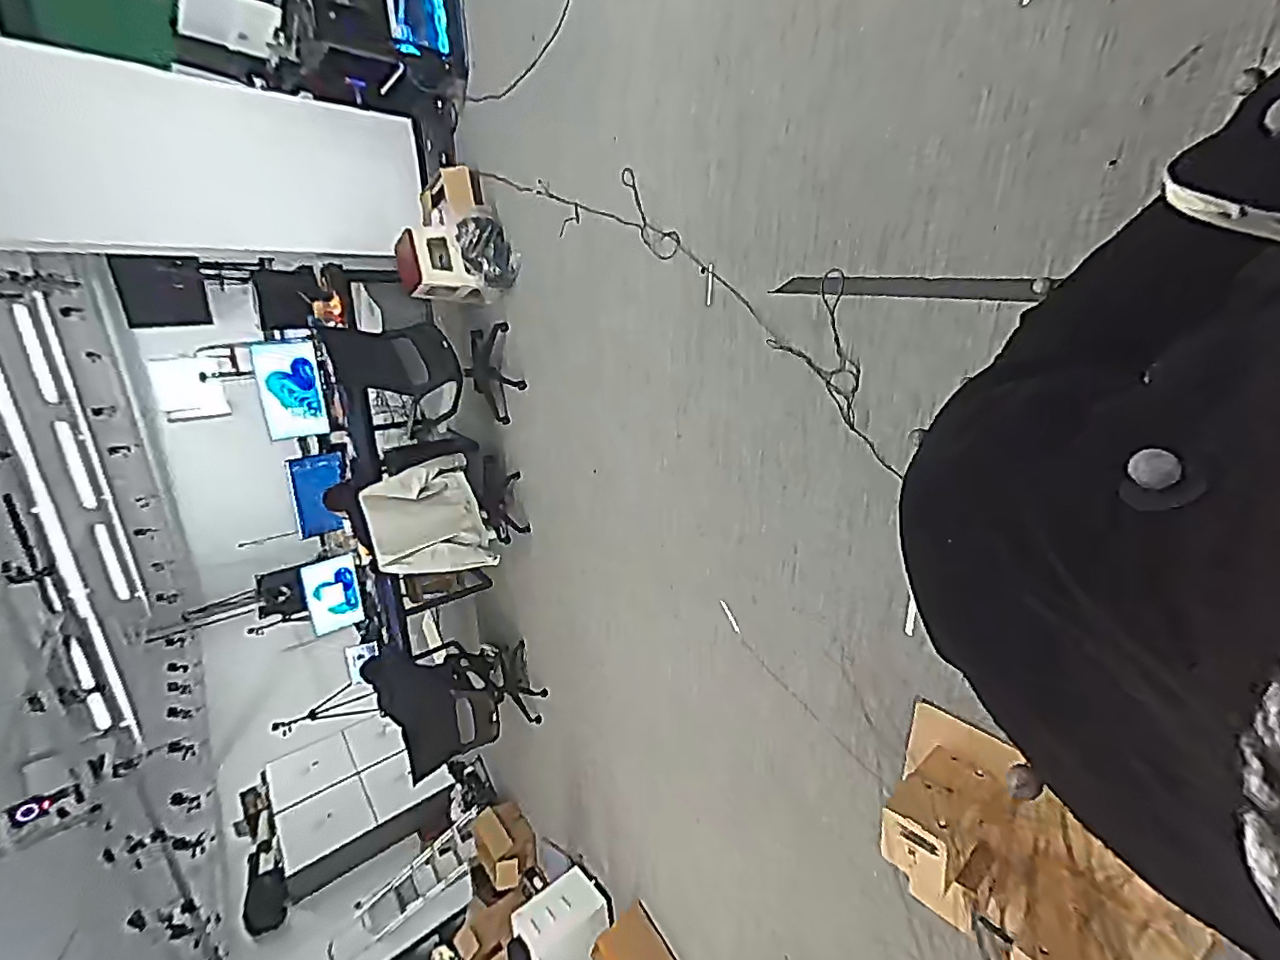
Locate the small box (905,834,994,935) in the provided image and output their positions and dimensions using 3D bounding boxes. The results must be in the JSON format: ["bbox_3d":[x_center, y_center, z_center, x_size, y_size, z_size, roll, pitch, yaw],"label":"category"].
[{"bbox_3d":[0.921,1.177,1.613,0.179,0.176,0.168,14,114,48],"label":"small box"}]

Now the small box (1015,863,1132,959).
[{"bbox_3d":[1.096,1.121,1.369,0.179,0.176,0.168,24,120,44],"label":"small box"}]

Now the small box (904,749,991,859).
[{"bbox_3d":[0.889,0.922,1.560,0.168,0.176,0.179,15,114,49],"label":"small box"}]

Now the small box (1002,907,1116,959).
[{"bbox_3d":[0.971,1.158,1.267,0.179,0.176,0.168,25,121,43],"label":"small box"}]
